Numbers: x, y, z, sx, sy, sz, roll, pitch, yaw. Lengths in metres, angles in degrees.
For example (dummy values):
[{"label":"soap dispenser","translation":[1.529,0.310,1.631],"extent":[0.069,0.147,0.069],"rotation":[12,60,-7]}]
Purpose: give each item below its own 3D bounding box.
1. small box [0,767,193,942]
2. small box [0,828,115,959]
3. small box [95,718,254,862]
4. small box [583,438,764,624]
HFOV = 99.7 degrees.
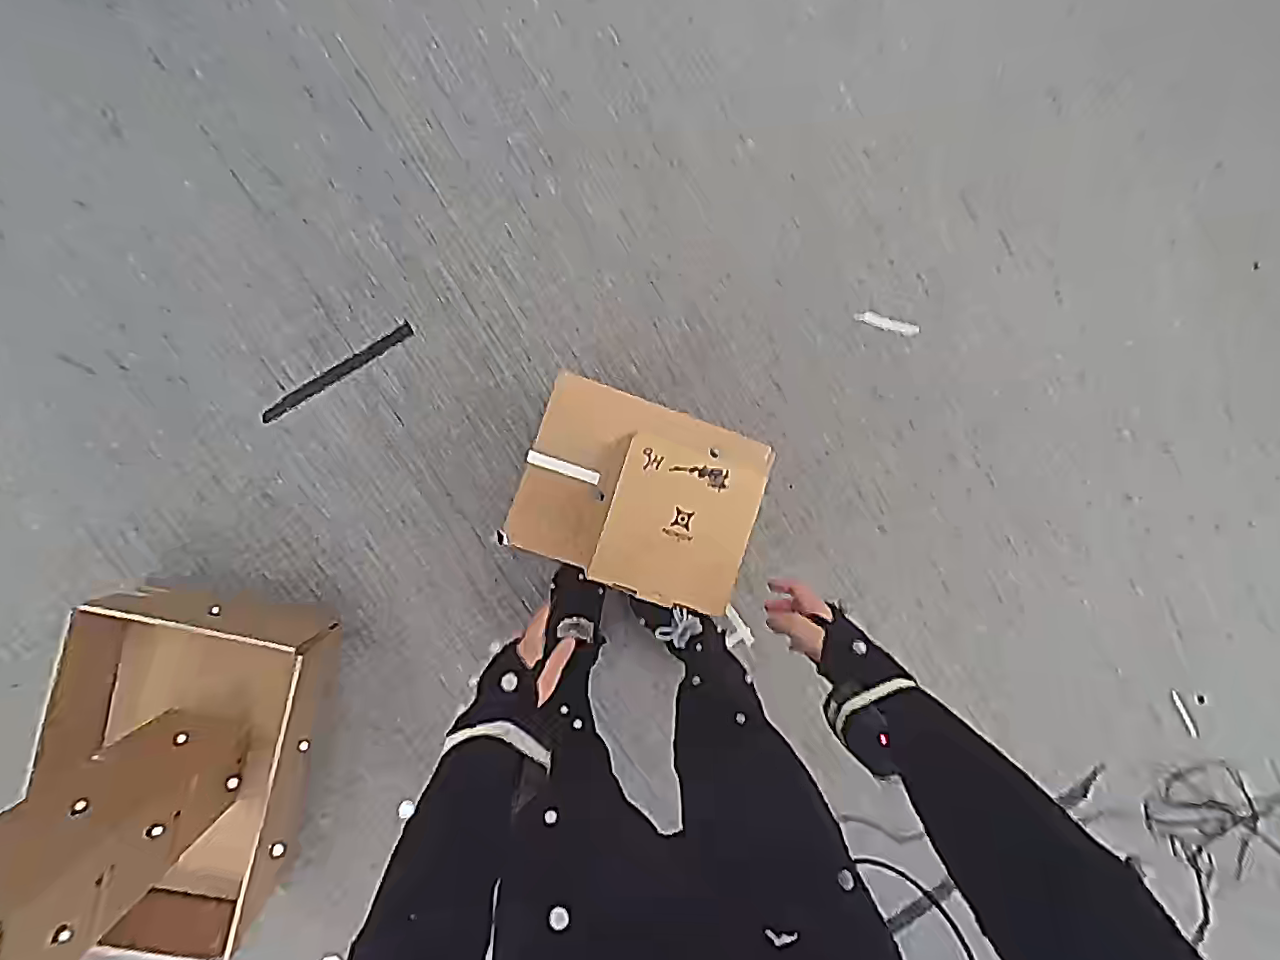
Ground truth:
[{"label":"small box","translation":[-0.878,0.591,0.872],"extent":[0.179,0.176,0.168],"rotation":[9,90,-6]},{"label":"small box","translation":[-0.854,0.591,0.708],"extent":[0.179,0.176,0.168],"rotation":[9,89,-7]},{"label":"small box","translation":[-0.892,0.579,1.033],"extent":[0.179,0.176,0.168],"rotation":[14,91,-8]},{"label":"small box","translation":[0.032,0.055,0.691],"extent":[0.168,0.176,0.179],"rotation":[19,90,-8]}]
